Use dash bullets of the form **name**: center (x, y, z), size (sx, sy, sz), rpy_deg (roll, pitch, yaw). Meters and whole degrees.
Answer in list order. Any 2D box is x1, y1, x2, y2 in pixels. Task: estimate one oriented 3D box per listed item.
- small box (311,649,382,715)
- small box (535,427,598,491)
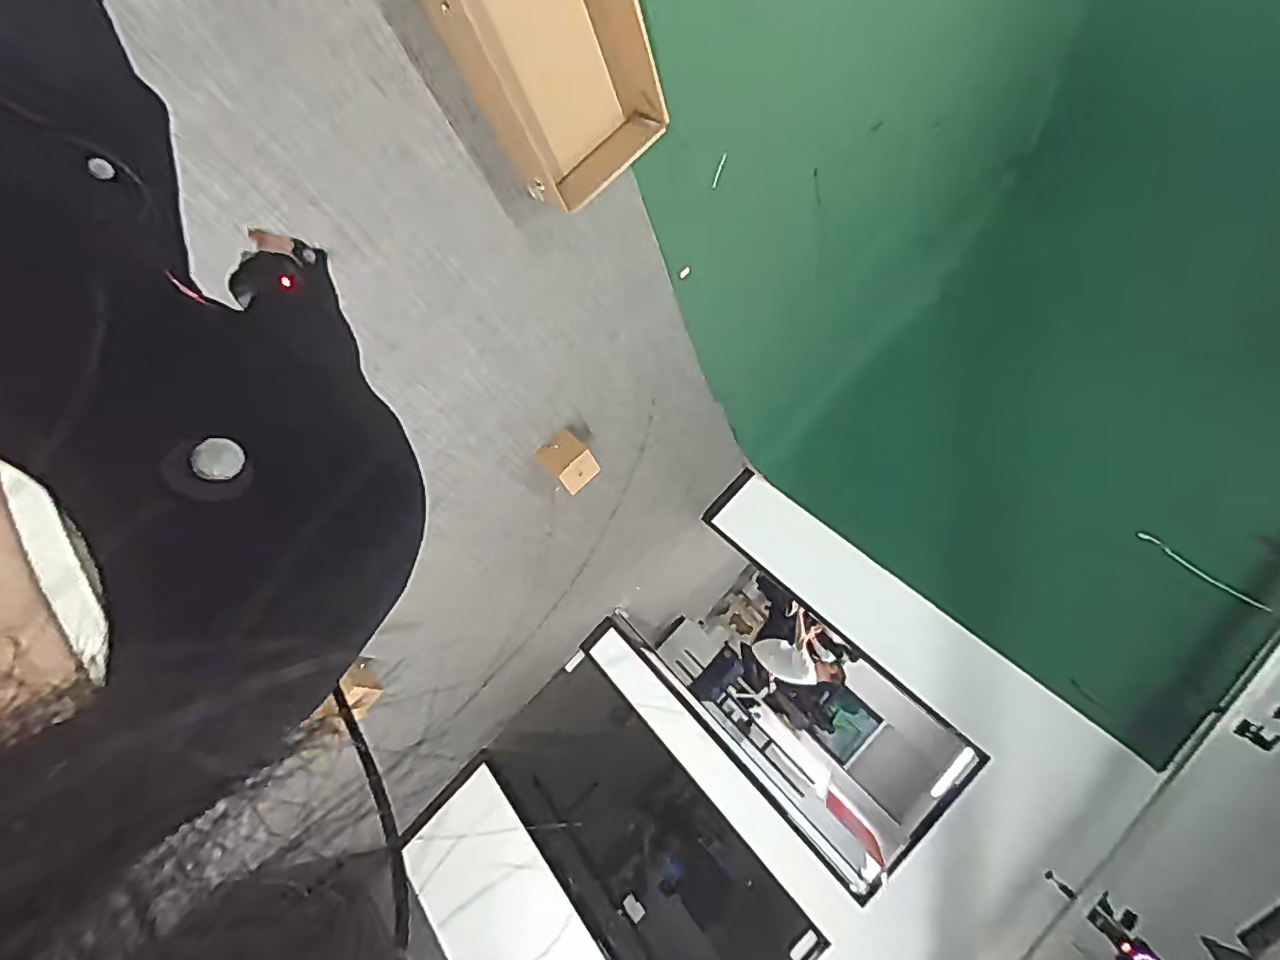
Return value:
- **small box**: center (-1.192, 0.816, 2.181), size (0.179, 0.176, 0.168), rpy_deg (-46, 150, -6)
- **small box**: center (-0.307, -0.092, 2.266), size (0.168, 0.176, 0.179), rpy_deg (-43, 150, -10)
